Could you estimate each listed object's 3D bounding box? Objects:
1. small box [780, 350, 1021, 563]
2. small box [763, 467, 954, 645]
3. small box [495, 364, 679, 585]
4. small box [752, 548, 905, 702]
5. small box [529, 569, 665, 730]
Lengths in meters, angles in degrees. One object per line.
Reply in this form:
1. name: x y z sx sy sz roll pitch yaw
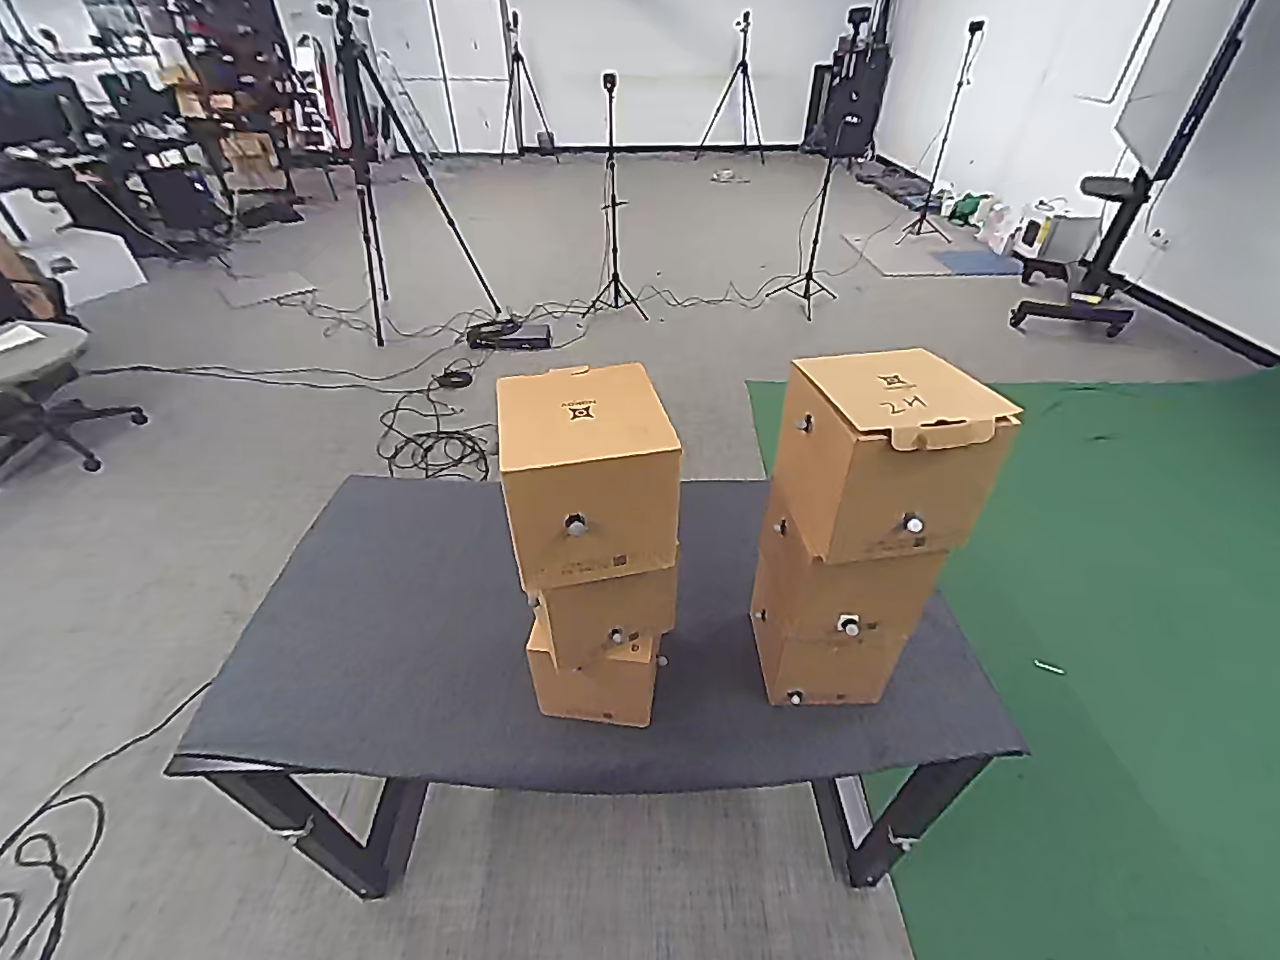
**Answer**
1. small box: 0.270 -0.030 0.615 0.168 0.176 0.179 -7 38 -4
2. small box: 0.271 0.095 0.723 0.168 0.176 0.179 -4 39 -2
3. small box: -0.059 -0.004 0.588 0.168 0.176 0.179 -9 40 -10
4. small box: 0.273 0.221 0.826 0.168 0.176 0.179 -1 37 0
5. small box: -0.055 0.240 0.808 0.168 0.176 0.179 5 38 6
